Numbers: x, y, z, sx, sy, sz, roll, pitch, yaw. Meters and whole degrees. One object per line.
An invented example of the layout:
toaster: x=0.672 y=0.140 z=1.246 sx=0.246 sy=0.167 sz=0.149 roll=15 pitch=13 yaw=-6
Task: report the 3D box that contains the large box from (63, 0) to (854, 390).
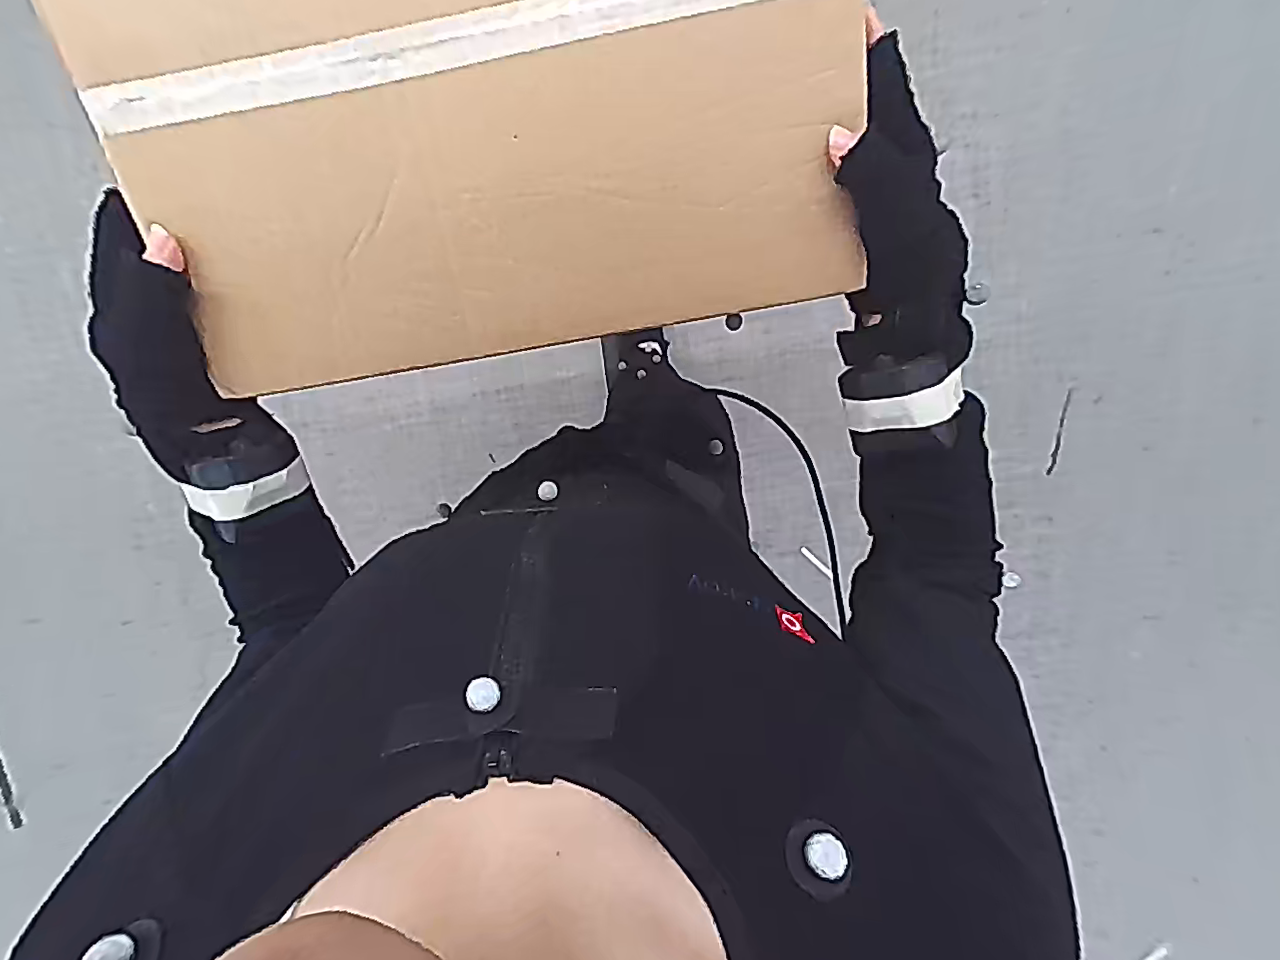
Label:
large box: x=-0.091 y=-0.287 z=0.424 sx=0.408 sy=0.320 sz=0.320 roll=-9 pitch=111 yaw=3
